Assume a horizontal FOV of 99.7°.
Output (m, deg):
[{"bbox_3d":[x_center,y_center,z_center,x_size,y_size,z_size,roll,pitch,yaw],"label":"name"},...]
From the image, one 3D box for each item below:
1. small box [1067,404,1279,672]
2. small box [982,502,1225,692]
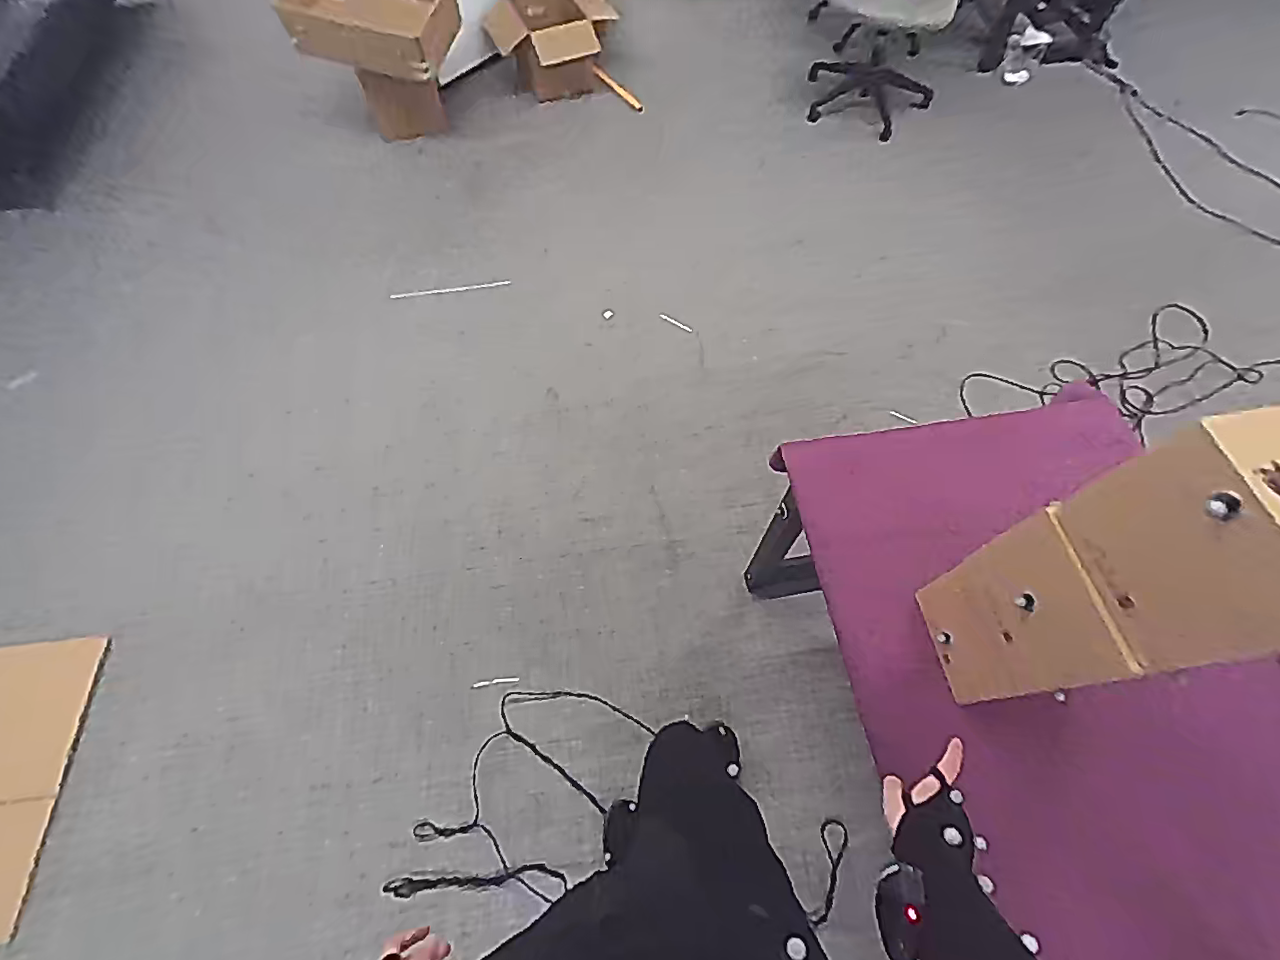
[{"bbox_3d":[0.516,0.049,0.439,0.179,0.176,0.168,-8,62,-3],"label":"small box"},{"bbox_3d":[0.511,0.126,0.585,0.179,0.176,0.168,-7,63,-2],"label":"small box"}]
